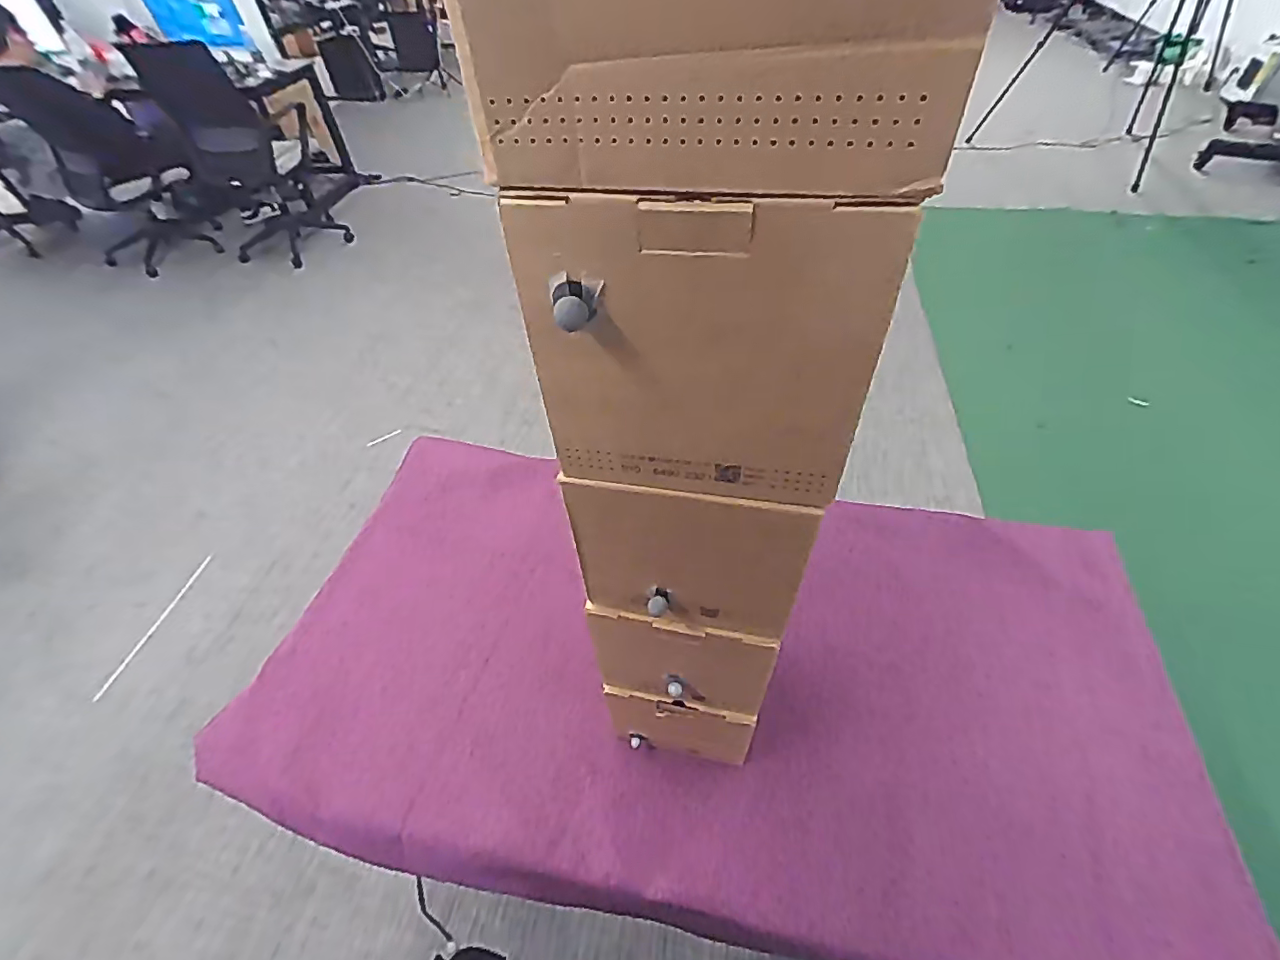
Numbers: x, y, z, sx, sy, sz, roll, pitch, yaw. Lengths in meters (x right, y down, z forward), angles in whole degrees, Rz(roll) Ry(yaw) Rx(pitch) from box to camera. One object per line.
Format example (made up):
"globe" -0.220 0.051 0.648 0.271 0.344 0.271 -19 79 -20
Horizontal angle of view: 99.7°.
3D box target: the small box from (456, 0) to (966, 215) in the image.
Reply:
"small box" 0.031 -0.221 0.213 0.179 0.176 0.168 8 48 10

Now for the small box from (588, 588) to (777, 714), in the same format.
"small box" 0.055 0.116 0.568 0.168 0.176 0.179 8 49 11

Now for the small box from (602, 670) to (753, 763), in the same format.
"small box" 0.062 0.232 0.684 0.168 0.176 0.179 9 49 11

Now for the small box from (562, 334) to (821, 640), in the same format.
"small box" 0.049 0.004 0.450 0.168 0.176 0.179 8 49 11
